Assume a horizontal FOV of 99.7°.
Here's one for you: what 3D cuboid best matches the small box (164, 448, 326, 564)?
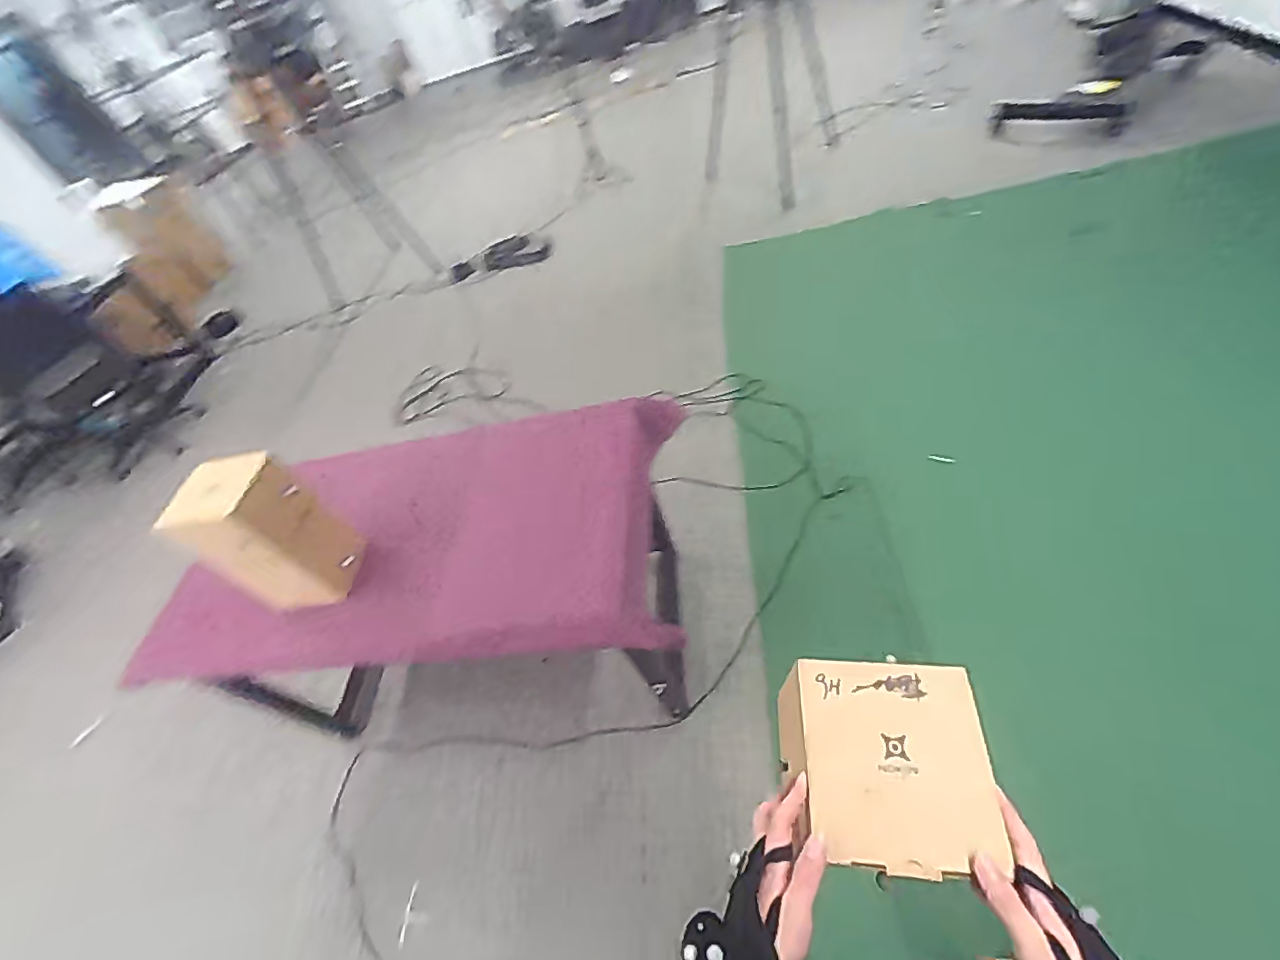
[{"bbox_3d":[-0.795,0.058,1.113,0.179,0.176,0.168,-8,49,12],"label":"small box"}]
